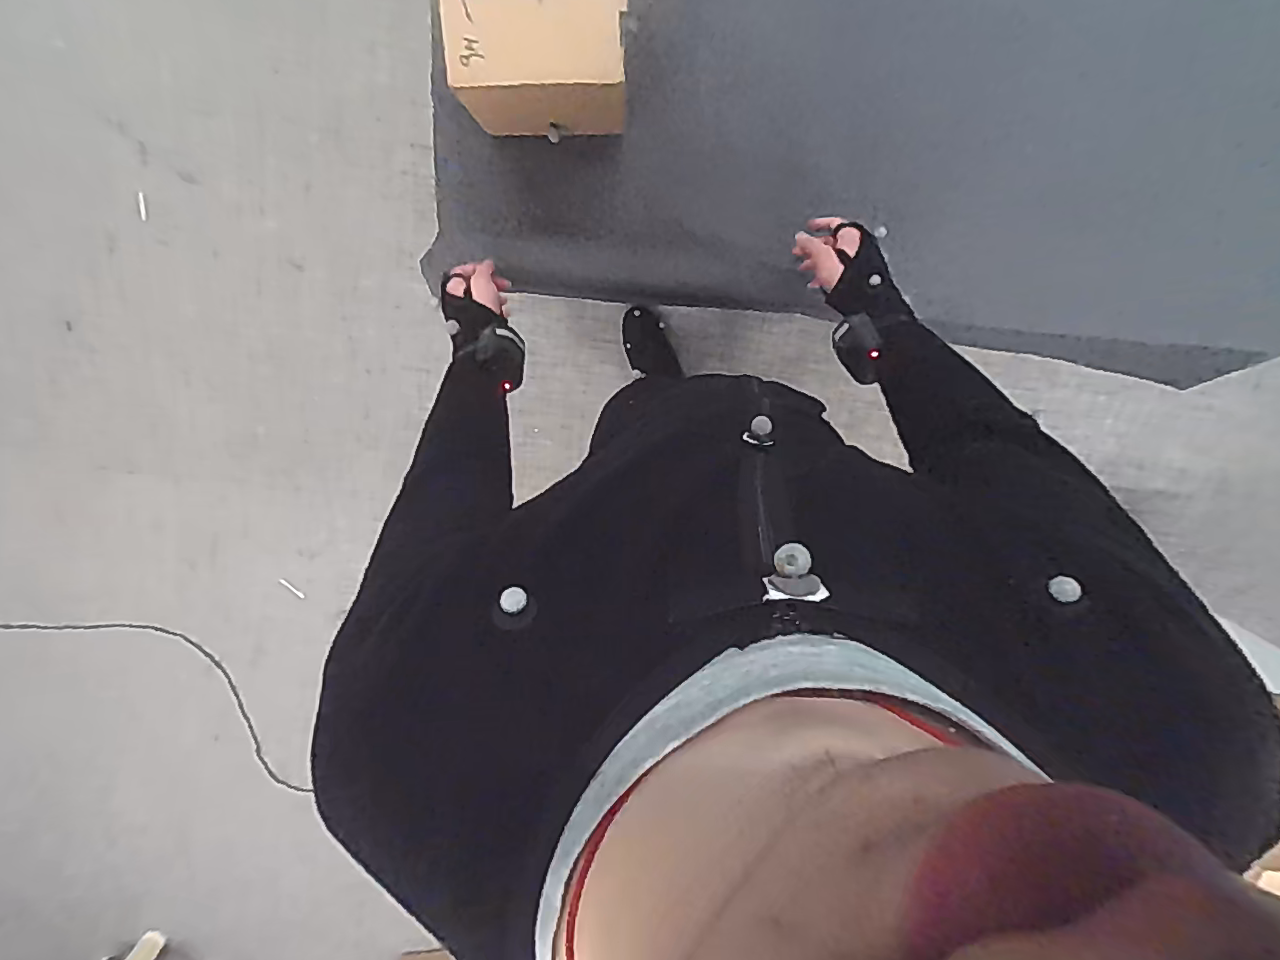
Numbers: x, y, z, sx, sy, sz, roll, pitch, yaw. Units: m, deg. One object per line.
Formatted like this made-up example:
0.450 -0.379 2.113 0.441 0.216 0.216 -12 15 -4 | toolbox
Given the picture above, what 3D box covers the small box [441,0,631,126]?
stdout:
-0.101 -0.490 0.568 0.179 0.176 0.168 -2 109 -2 | small box
